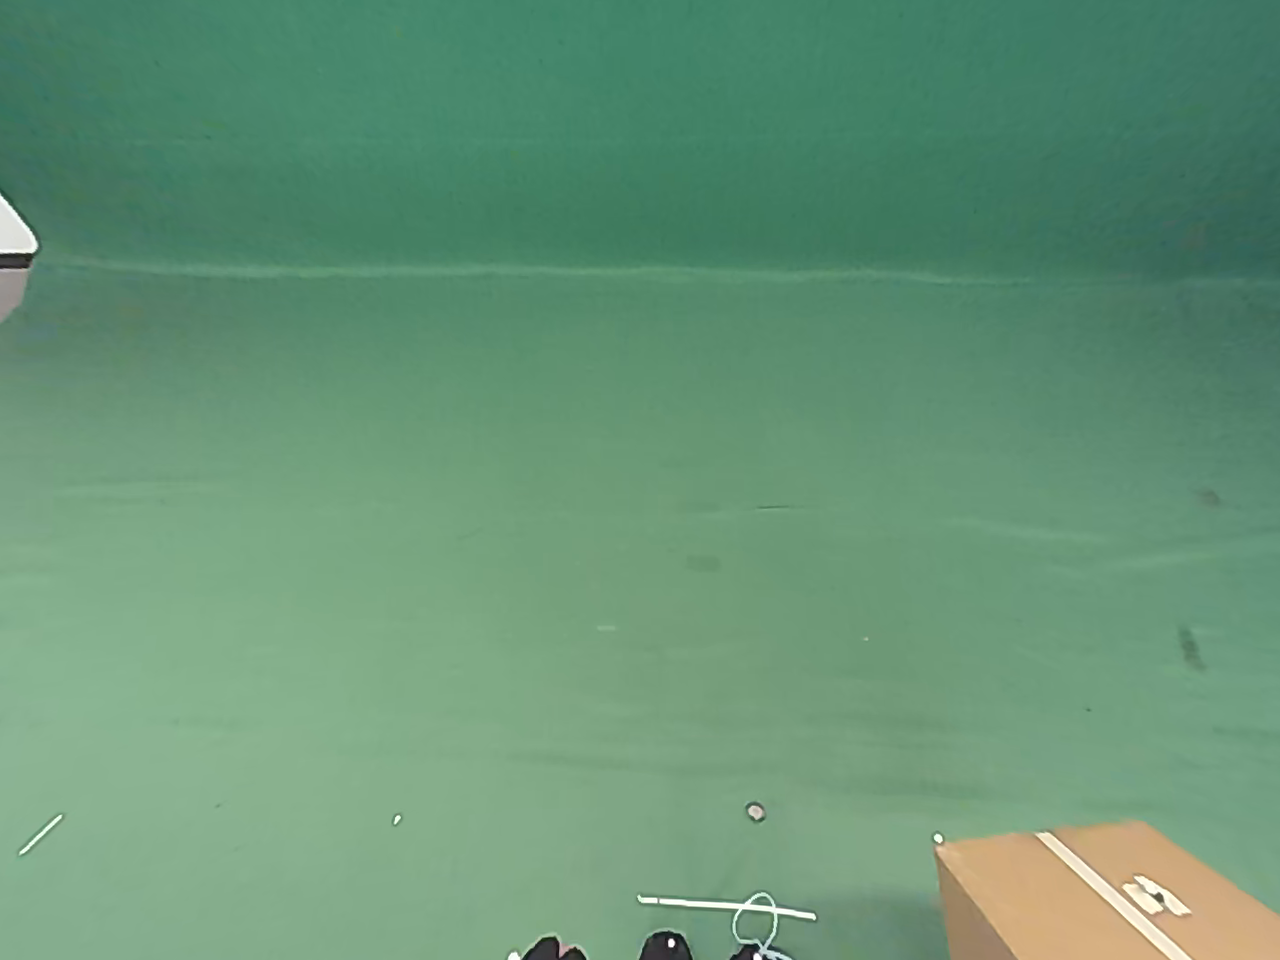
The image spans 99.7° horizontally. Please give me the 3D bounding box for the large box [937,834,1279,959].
[{"bbox_3d":[0.608,0.687,0.600,0.320,0.408,0.320,-7,88,2],"label":"large box"}]
